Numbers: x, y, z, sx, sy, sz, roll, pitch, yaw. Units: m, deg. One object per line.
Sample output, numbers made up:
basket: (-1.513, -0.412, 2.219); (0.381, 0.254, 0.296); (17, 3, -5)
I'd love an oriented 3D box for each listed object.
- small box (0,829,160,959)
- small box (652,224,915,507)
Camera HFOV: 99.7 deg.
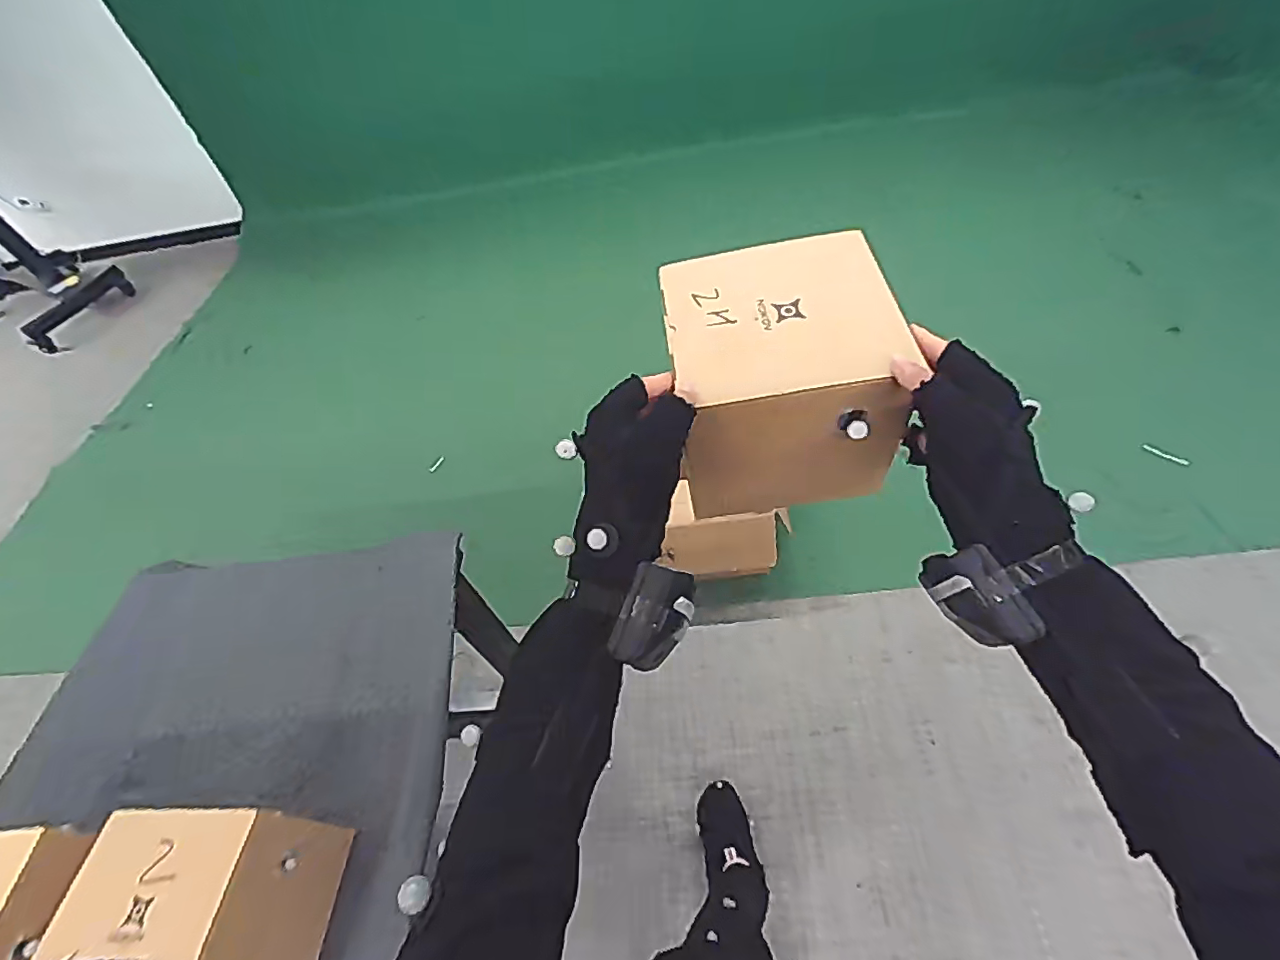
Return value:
small box: (-0.657, 0.477, 0.552); (0.168, 0.176, 0.179); (-8, 51, 3)
small box: (0.113, -0.092, 0.488); (0.179, 0.176, 0.168); (-9, 57, 6)
